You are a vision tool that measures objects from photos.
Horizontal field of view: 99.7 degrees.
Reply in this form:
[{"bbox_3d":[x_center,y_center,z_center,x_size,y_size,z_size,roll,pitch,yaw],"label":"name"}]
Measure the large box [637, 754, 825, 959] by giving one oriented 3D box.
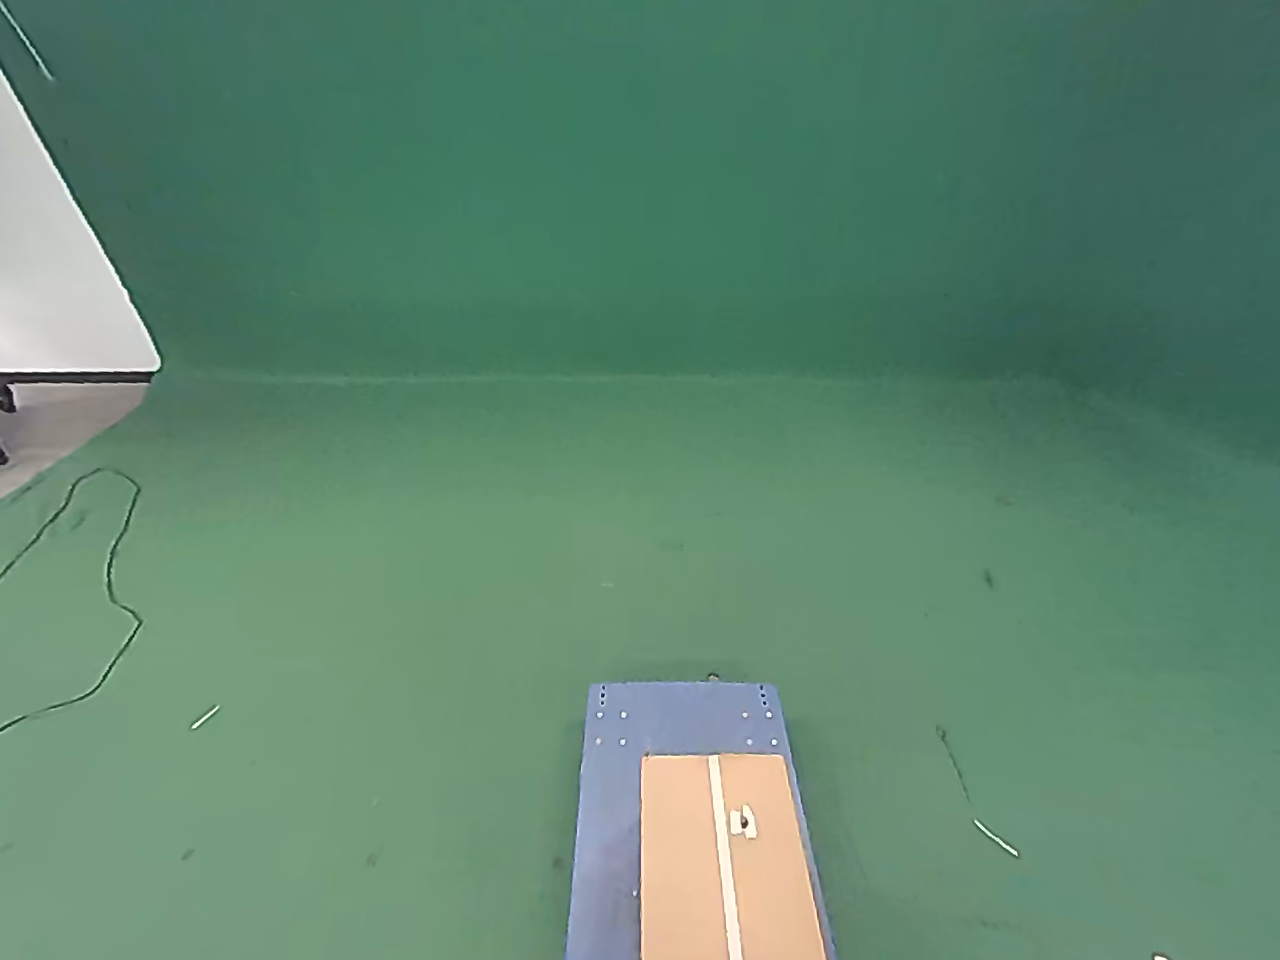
[{"bbox_3d":[0.153,0.842,1.109,0.320,0.320,0.408,0,35,-1],"label":"large box"}]
